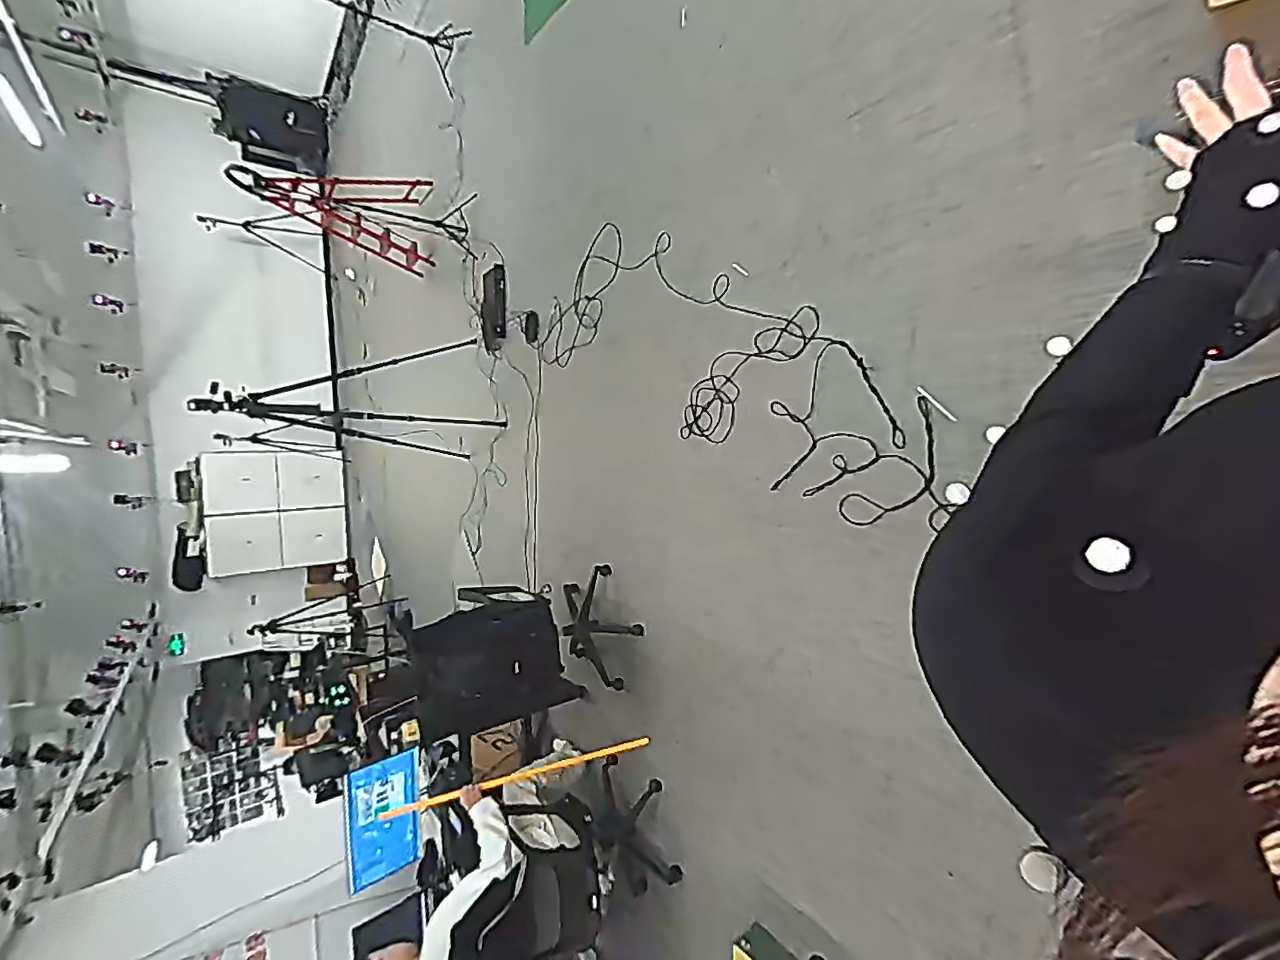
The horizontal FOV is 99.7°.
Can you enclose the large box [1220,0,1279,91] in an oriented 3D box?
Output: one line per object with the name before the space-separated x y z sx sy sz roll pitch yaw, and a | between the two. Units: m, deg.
large box | 1.024 -0.759 0.645 0.408 0.320 0.320 16 106 49
